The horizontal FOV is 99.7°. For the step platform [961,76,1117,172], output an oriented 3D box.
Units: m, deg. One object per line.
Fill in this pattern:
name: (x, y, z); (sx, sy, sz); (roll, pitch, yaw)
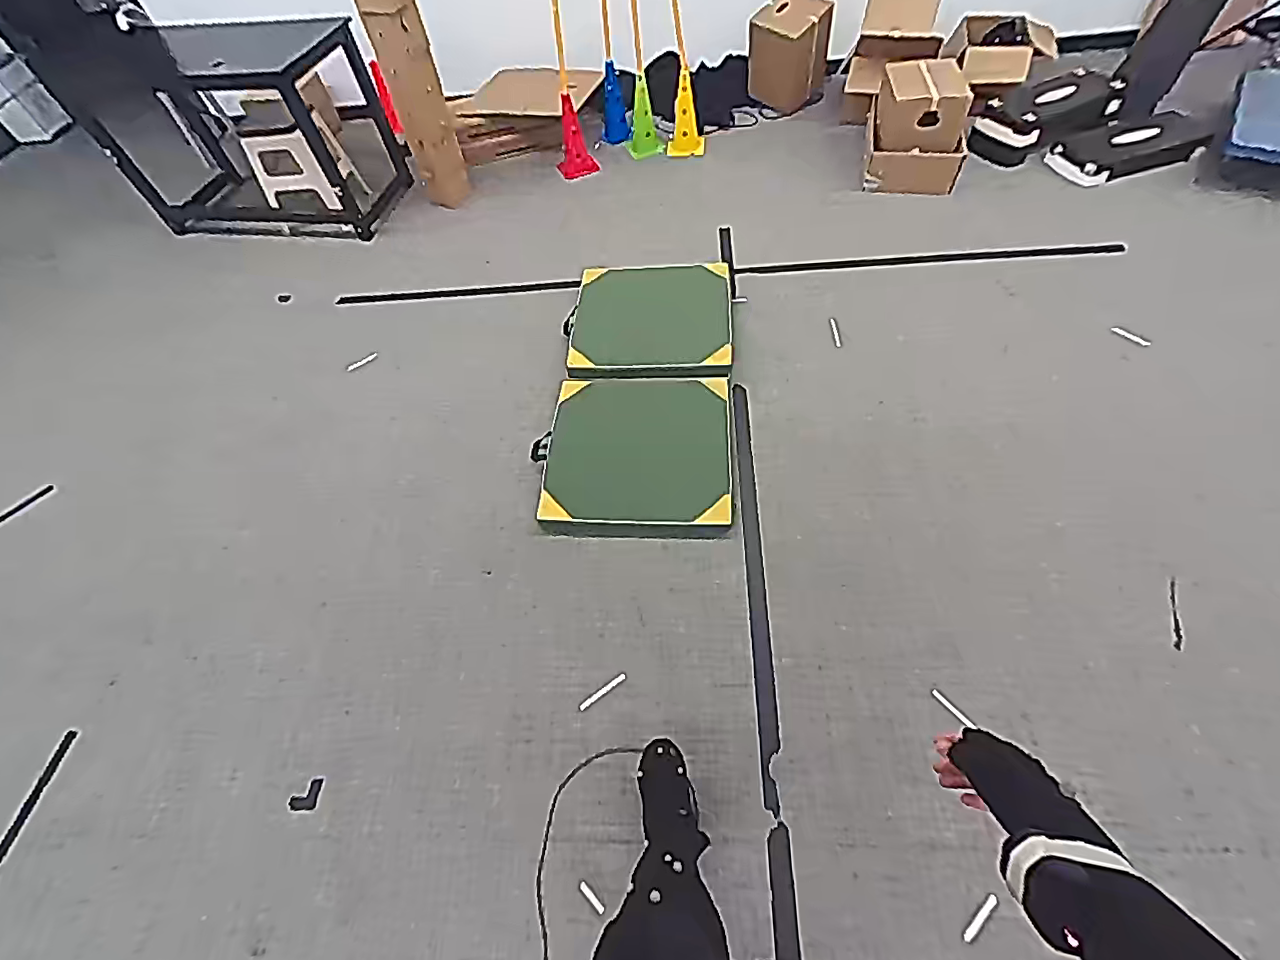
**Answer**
step platform: (1.960, -1.756, 2.659); (0.684, 0.204, 0.286); (-26, 57, -11)
